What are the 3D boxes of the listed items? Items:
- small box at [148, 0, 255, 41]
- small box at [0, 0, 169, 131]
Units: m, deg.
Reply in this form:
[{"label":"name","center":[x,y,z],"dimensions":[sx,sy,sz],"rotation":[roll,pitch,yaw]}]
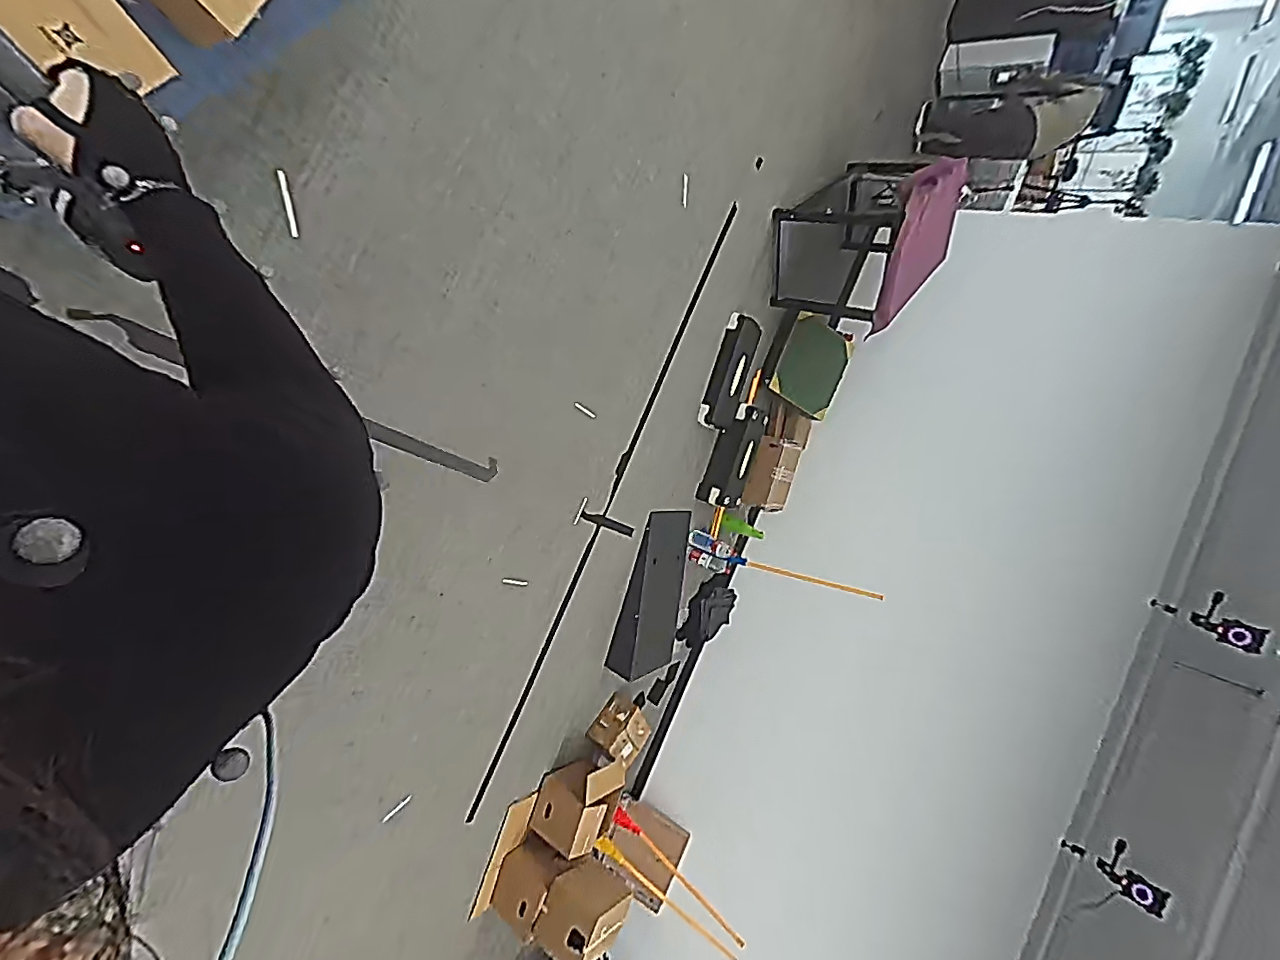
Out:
[{"label":"small box","center":[-0.701,-0.825,0.833],"dimensions":[0.179,0.176,0.168],"rotation":[-63,148,-10]},{"label":"small box","center":[-0.835,-0.618,0.758],"dimensions":[0.179,0.176,0.168],"rotation":[-56,148,-21]}]
